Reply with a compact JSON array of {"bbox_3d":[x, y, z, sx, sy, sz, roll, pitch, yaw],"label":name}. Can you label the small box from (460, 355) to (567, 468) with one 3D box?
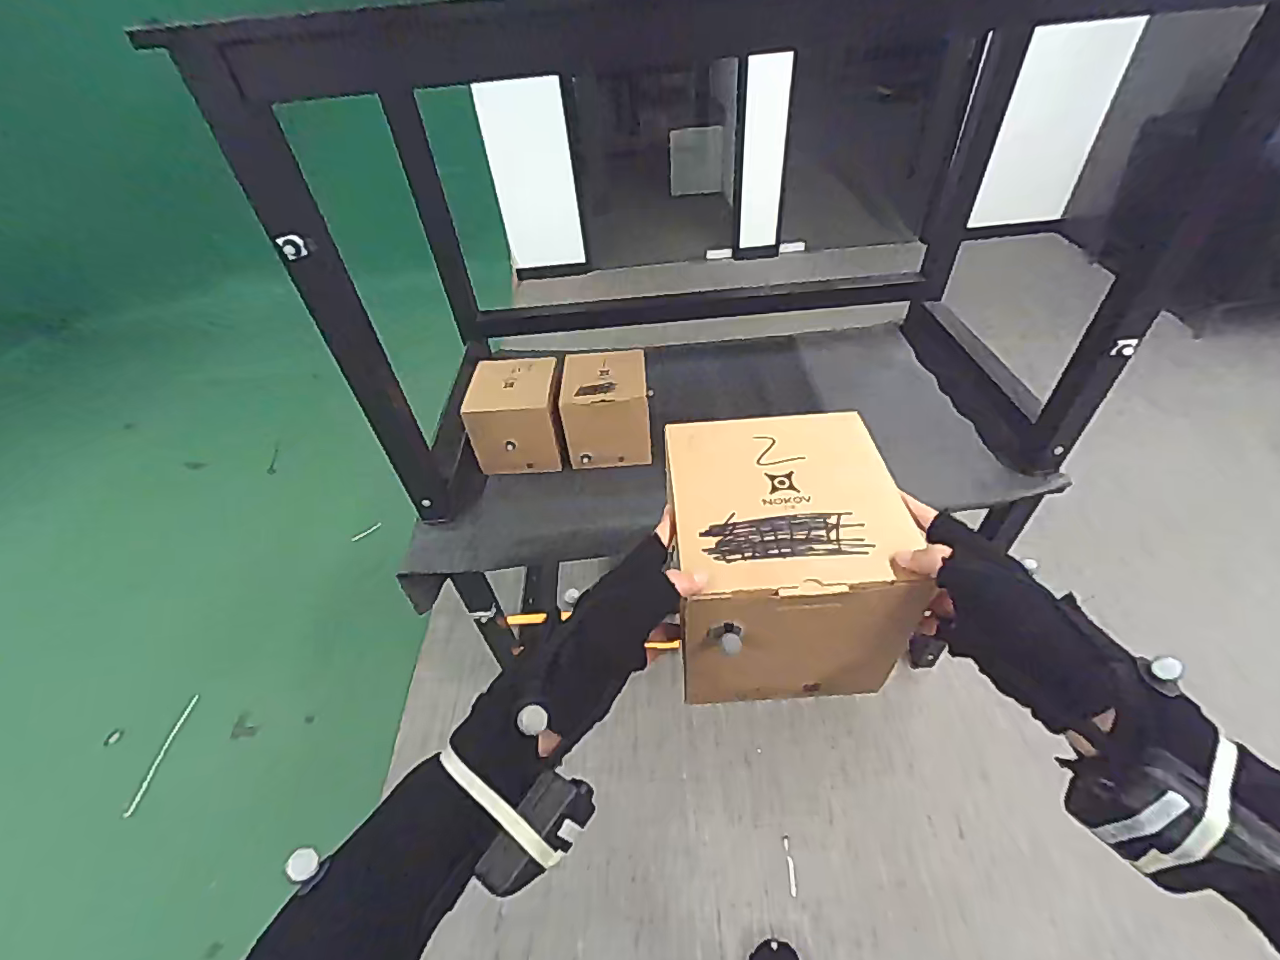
[{"bbox_3d":[-0.247,-0.136,1.109,0.168,0.176,0.179,-2,45,2],"label":"small box"}]
